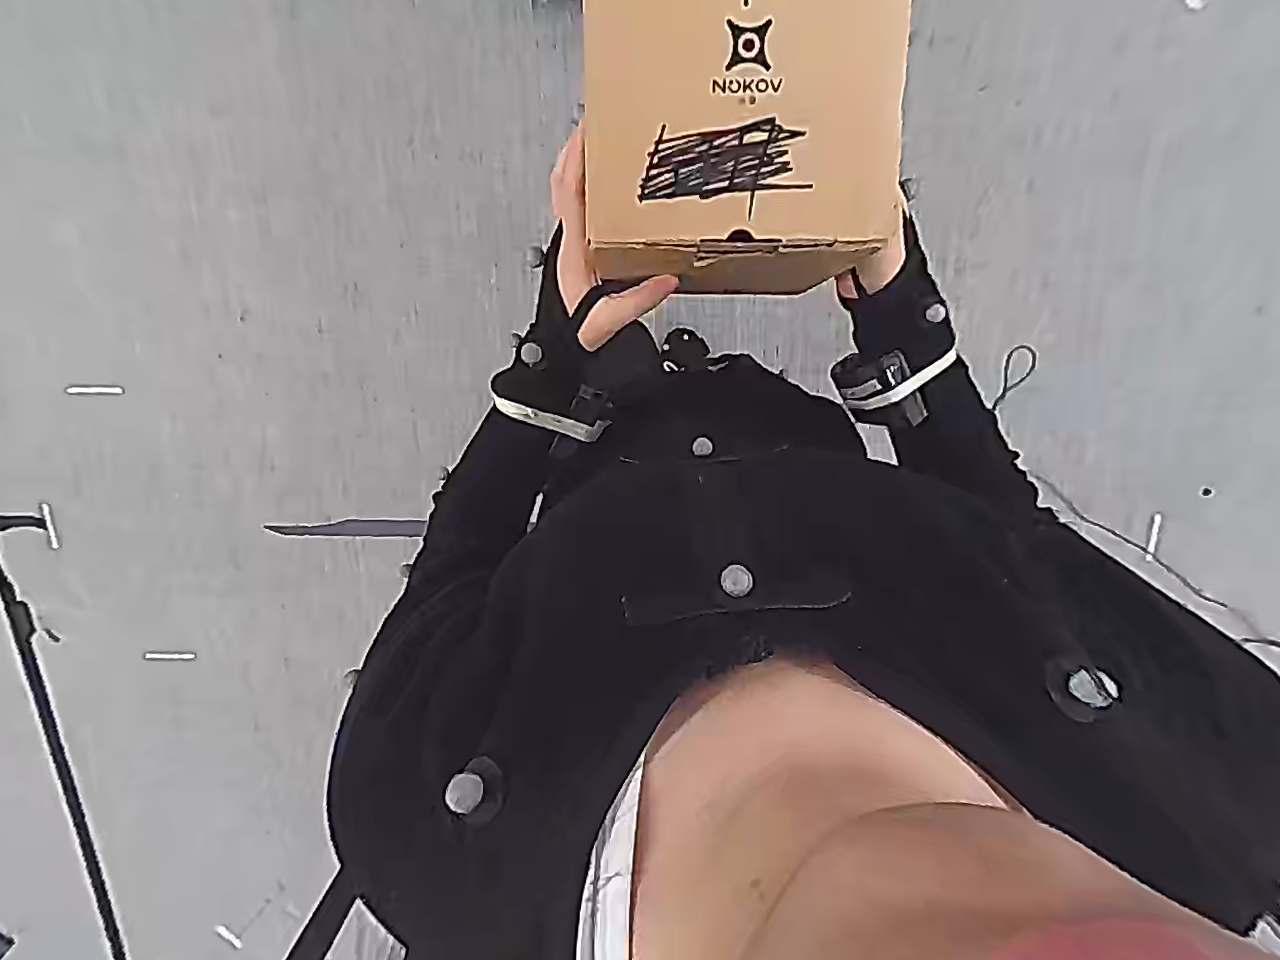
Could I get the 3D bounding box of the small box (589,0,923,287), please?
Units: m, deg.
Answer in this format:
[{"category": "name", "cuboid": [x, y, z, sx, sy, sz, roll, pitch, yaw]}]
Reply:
[{"category": "small box", "cuboid": [0.057, -0.226, 0.349, 0.168, 0.176, 0.179, 0, 100, 0]}]
